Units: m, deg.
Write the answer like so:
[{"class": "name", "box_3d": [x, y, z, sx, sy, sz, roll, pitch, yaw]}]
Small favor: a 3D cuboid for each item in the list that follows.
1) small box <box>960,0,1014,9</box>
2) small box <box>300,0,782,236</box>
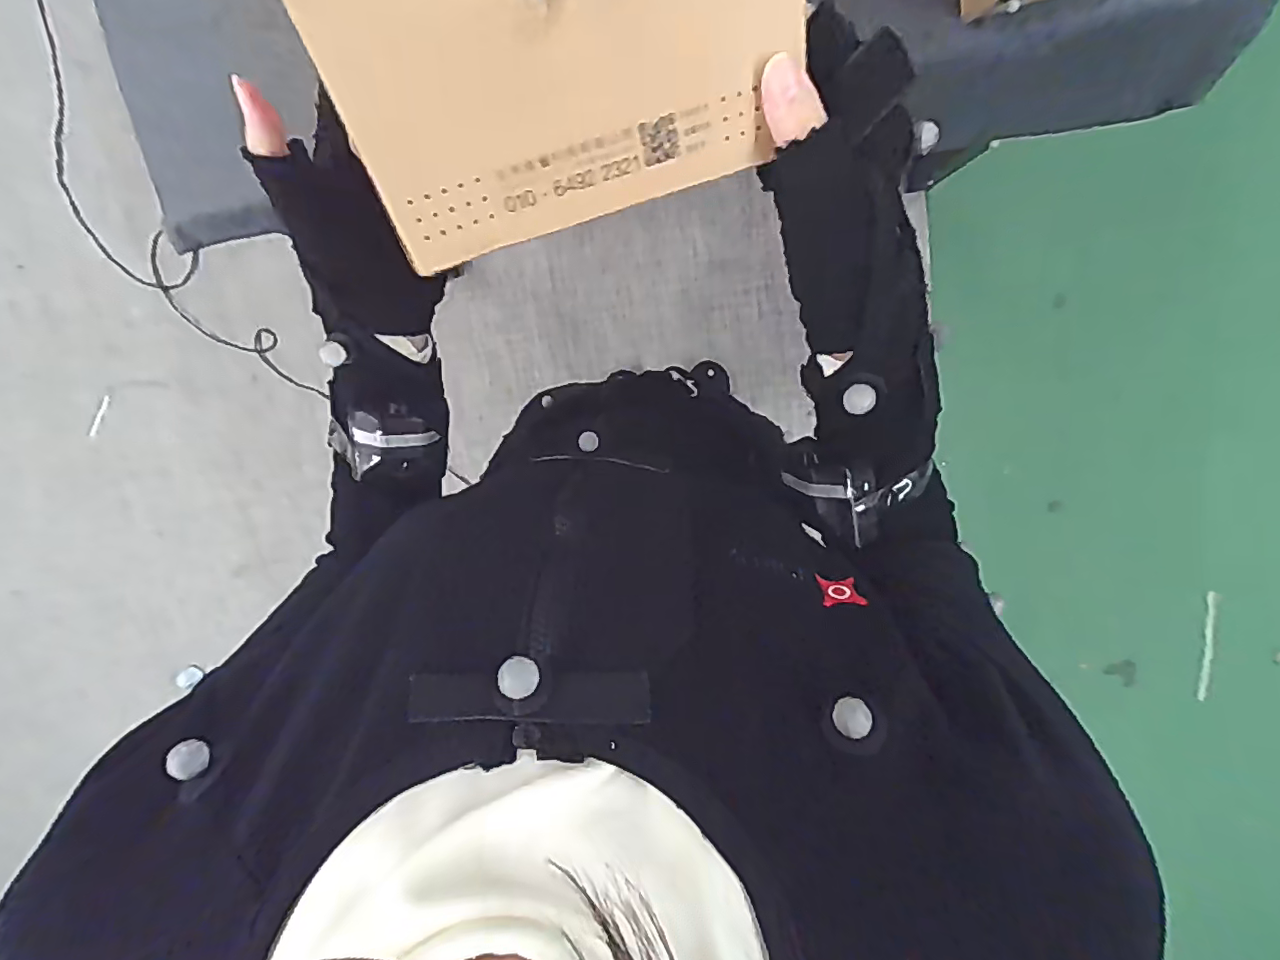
[{"class": "small box", "box_3d": [0.375, -0.549, 0.454, 0.168, 0.176, 0.179, -12, 100, 7]}, {"class": "small box", "box_3d": [-0.051, -0.225, 0.228, 0.168, 0.179, 0.176, -20, 133, -4]}]
